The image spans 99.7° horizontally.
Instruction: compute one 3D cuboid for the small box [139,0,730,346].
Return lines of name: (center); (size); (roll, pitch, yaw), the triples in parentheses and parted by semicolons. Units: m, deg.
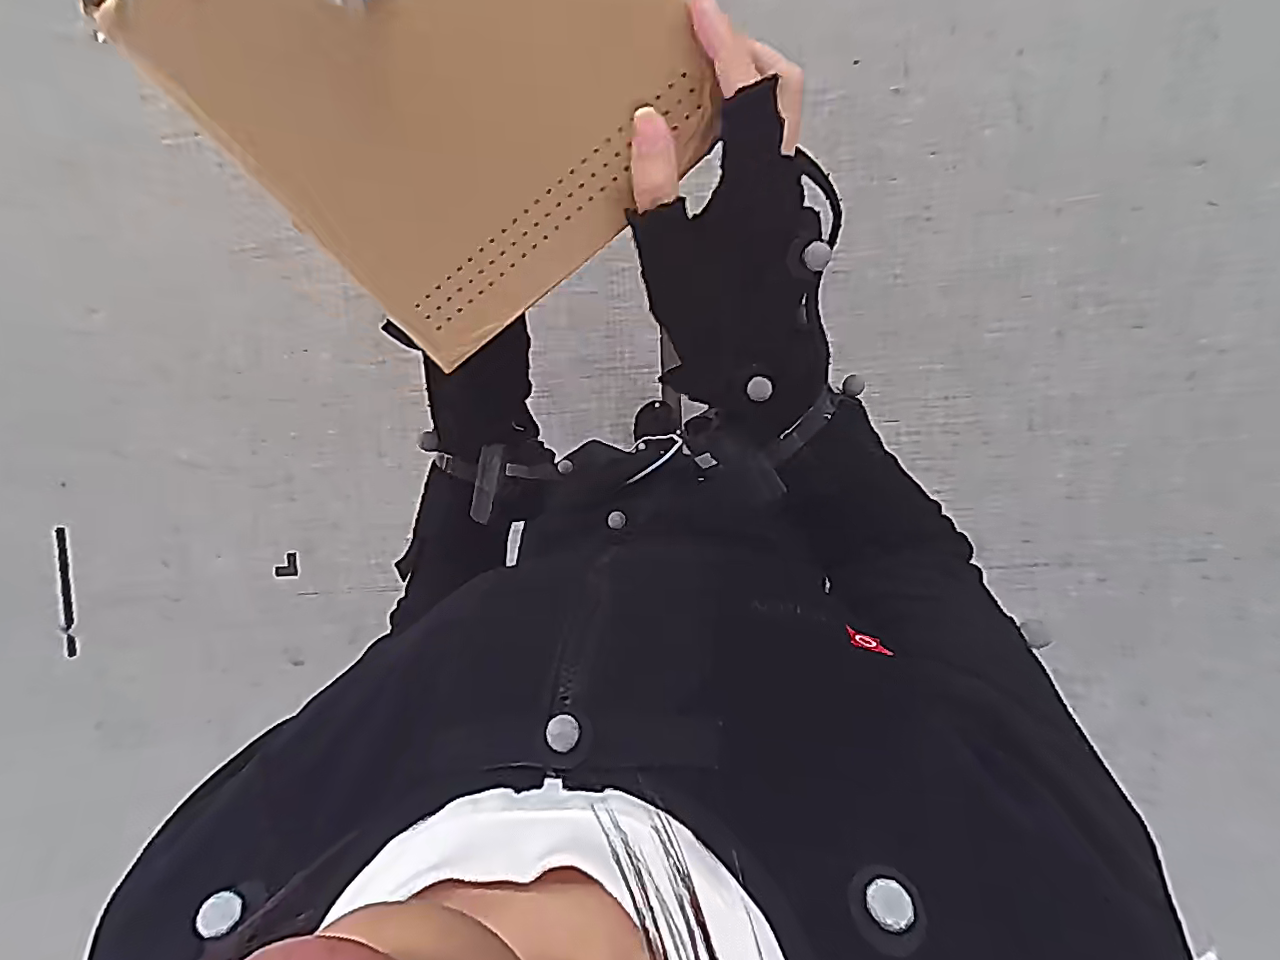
small box: (-0.083, -0.202, 0.289); (0.179, 0.168, 0.176); (-36, 123, 8)
